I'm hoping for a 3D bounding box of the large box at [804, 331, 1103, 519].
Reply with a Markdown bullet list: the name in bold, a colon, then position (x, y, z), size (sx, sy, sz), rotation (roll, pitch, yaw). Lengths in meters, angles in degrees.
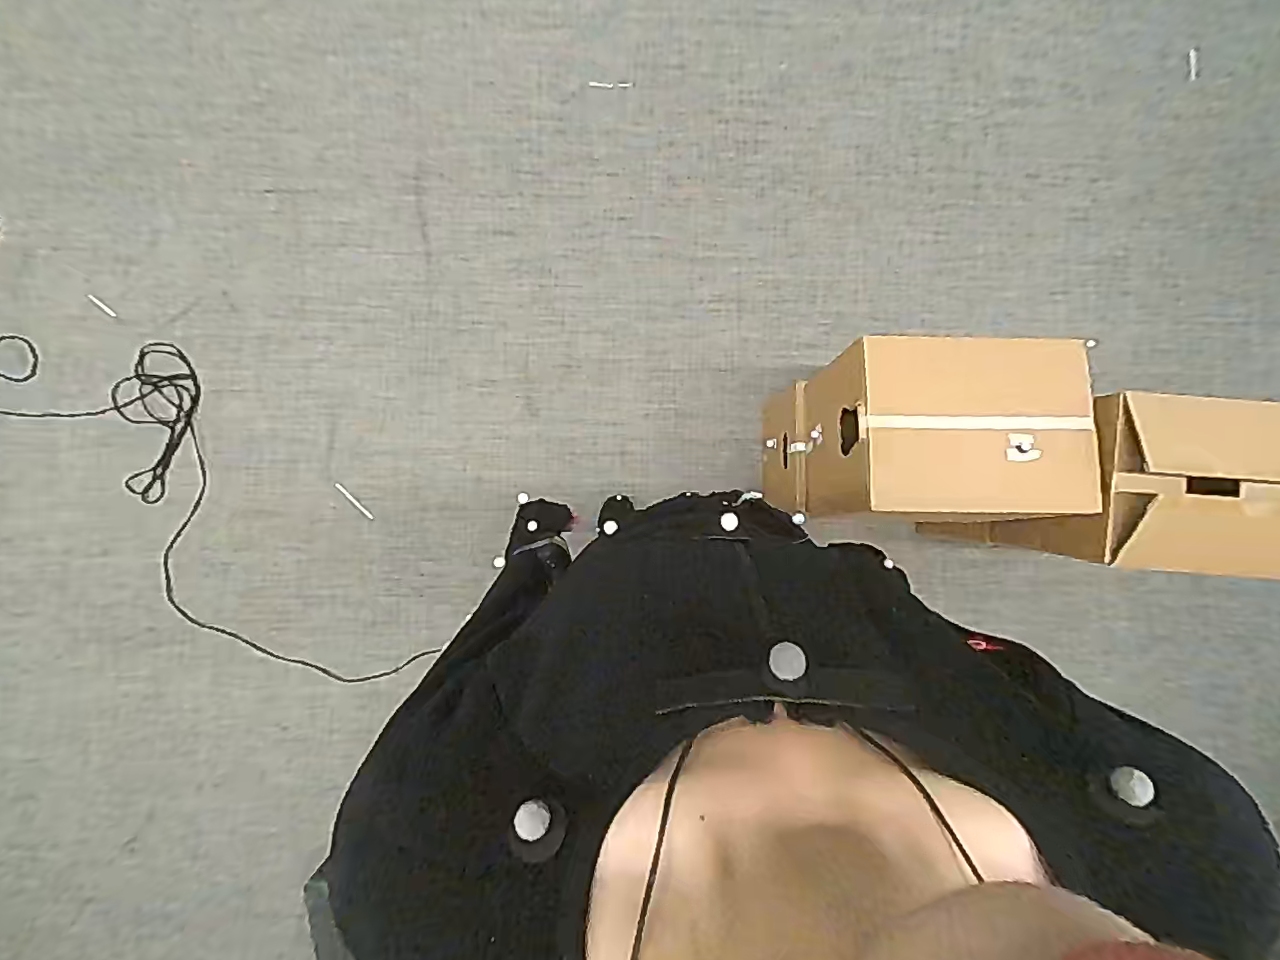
- **large box**: position (0.576, -0.087, 1.069), size (0.408, 0.320, 0.320), rotation (1, 84, -2)
